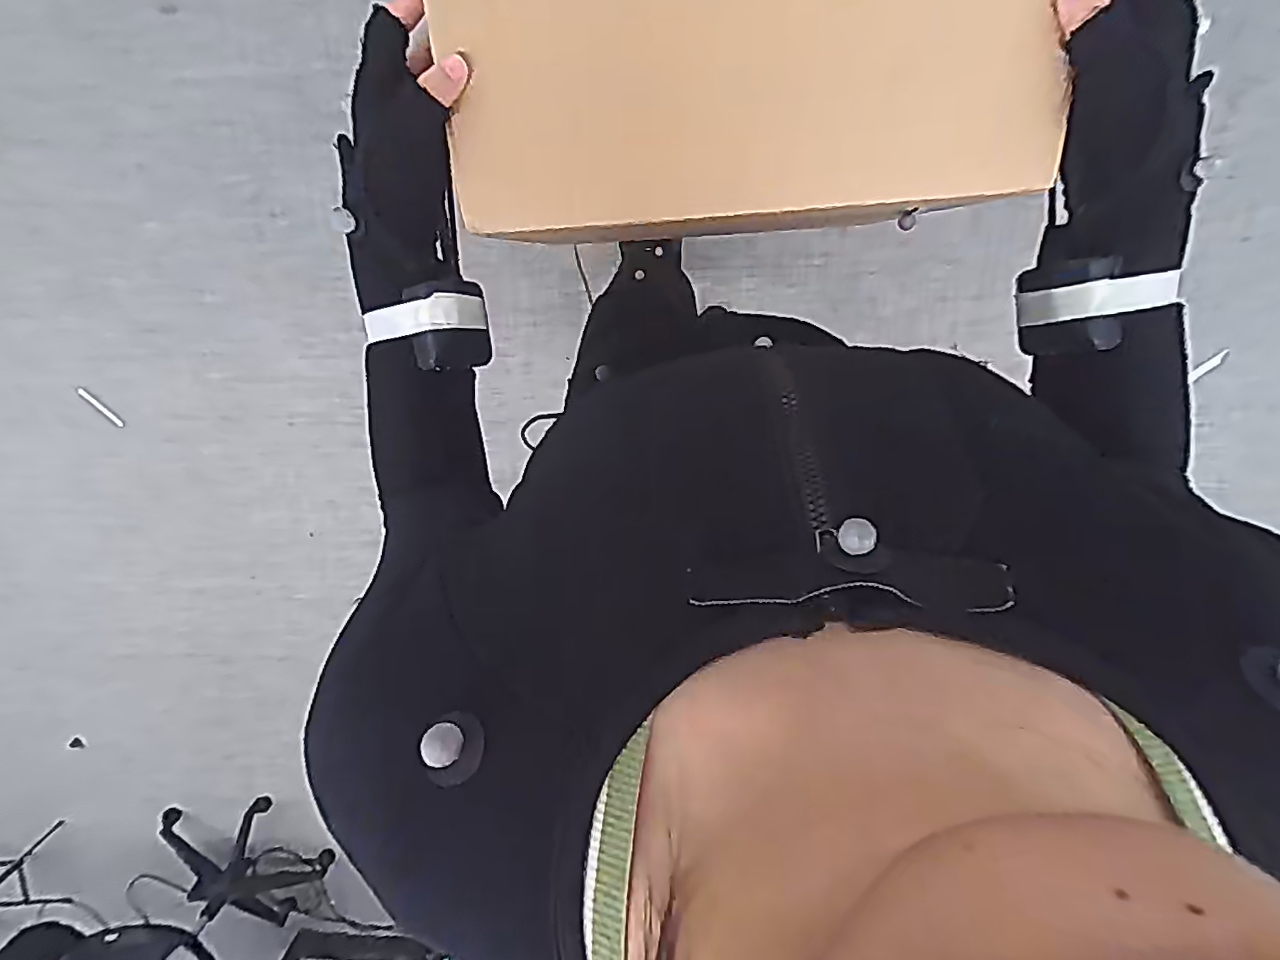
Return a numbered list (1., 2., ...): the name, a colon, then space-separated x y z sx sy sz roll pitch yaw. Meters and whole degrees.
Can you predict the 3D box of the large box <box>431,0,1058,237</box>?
1. large box: 0.067 -0.394 0.465 0.408 0.320 0.320 -3 112 3
